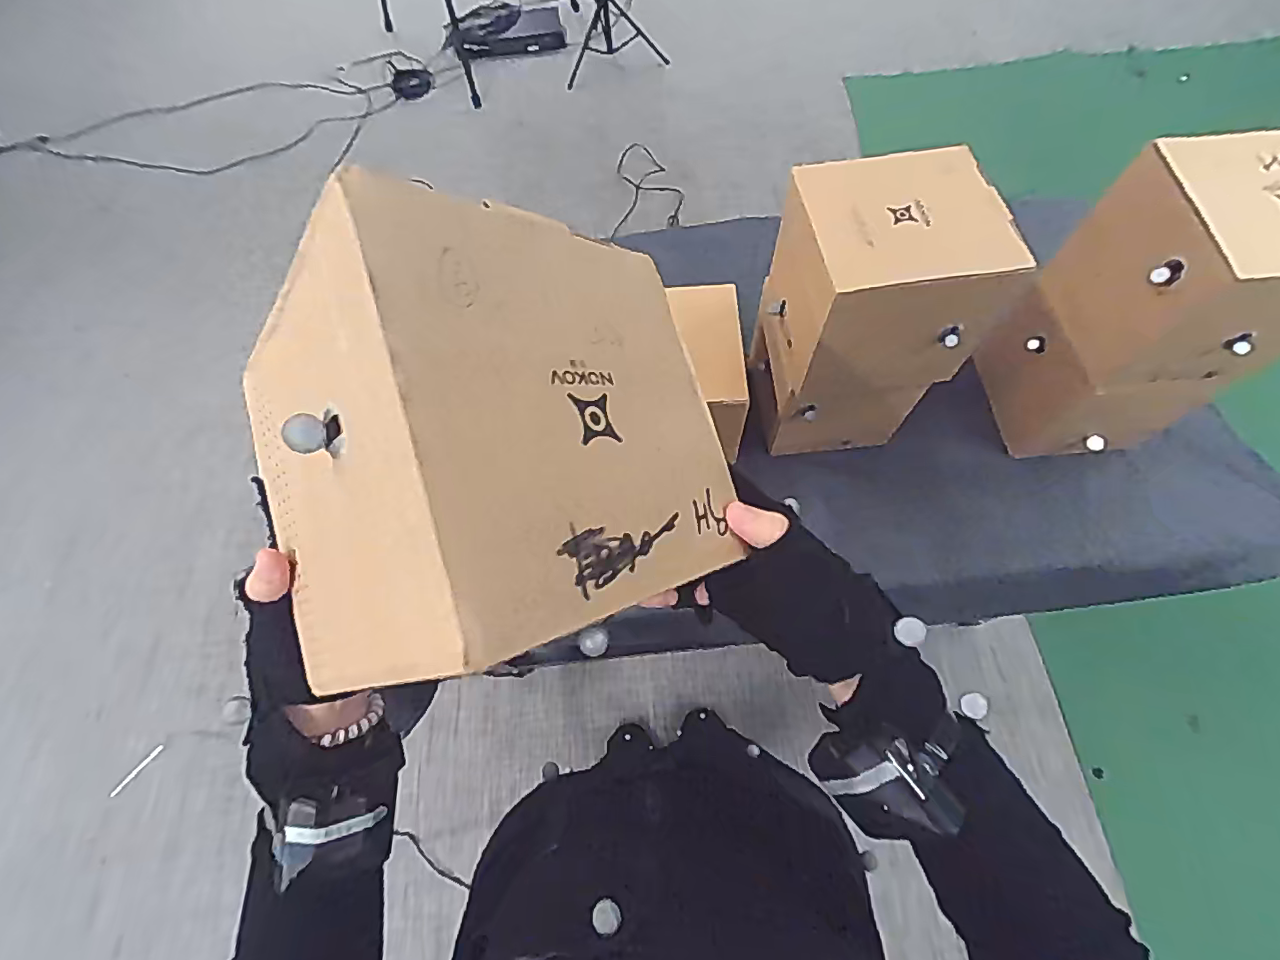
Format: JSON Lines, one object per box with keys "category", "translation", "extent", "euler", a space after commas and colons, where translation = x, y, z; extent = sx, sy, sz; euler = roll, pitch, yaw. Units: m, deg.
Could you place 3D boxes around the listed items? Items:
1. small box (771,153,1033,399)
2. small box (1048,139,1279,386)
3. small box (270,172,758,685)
{"category": "small box", "translation": [0.251, -0.204, 0.571], "extent": [0.179, 0.176, 0.168], "euler": [-7, 64, 1]}
{"category": "small box", "translation": [0.571, -0.208, 0.550], "extent": [0.168, 0.176, 0.179], "euler": [-3, 65, 2]}
{"category": "small box", "translation": [-0.072, -0.010, 0.290], "extent": [0.168, 0.176, 0.179], "euler": [-8, 76, -48]}
